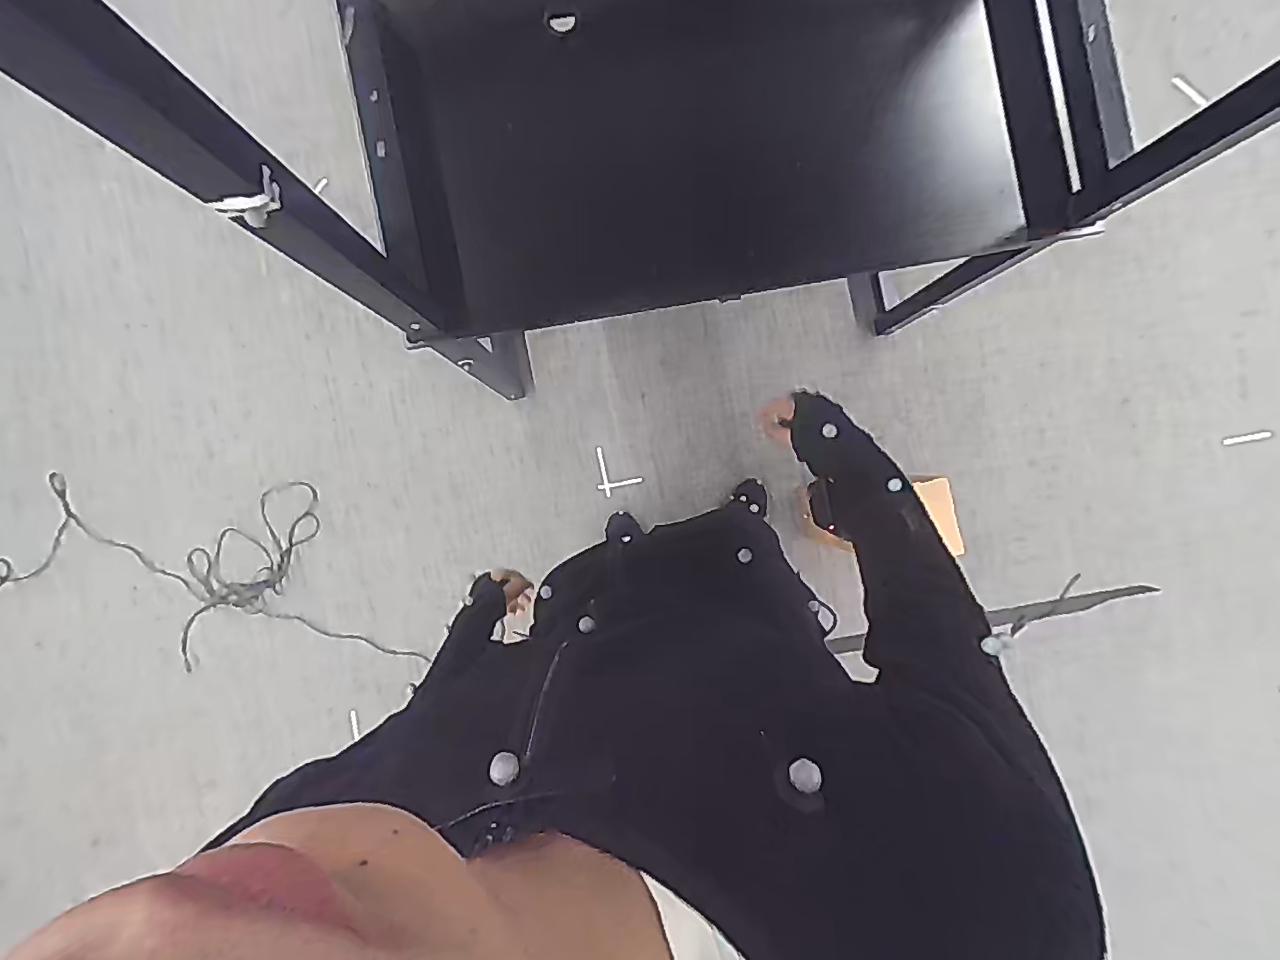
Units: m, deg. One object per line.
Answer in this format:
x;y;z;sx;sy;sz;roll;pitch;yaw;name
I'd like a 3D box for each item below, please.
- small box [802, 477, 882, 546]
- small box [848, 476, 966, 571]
0.591;0.085;1.562;0.179;0.176;0.168;-12;90;-1;small box
0.602;0.093;1.236;0.168;0.176;0.179;-14;91;-1;small box
